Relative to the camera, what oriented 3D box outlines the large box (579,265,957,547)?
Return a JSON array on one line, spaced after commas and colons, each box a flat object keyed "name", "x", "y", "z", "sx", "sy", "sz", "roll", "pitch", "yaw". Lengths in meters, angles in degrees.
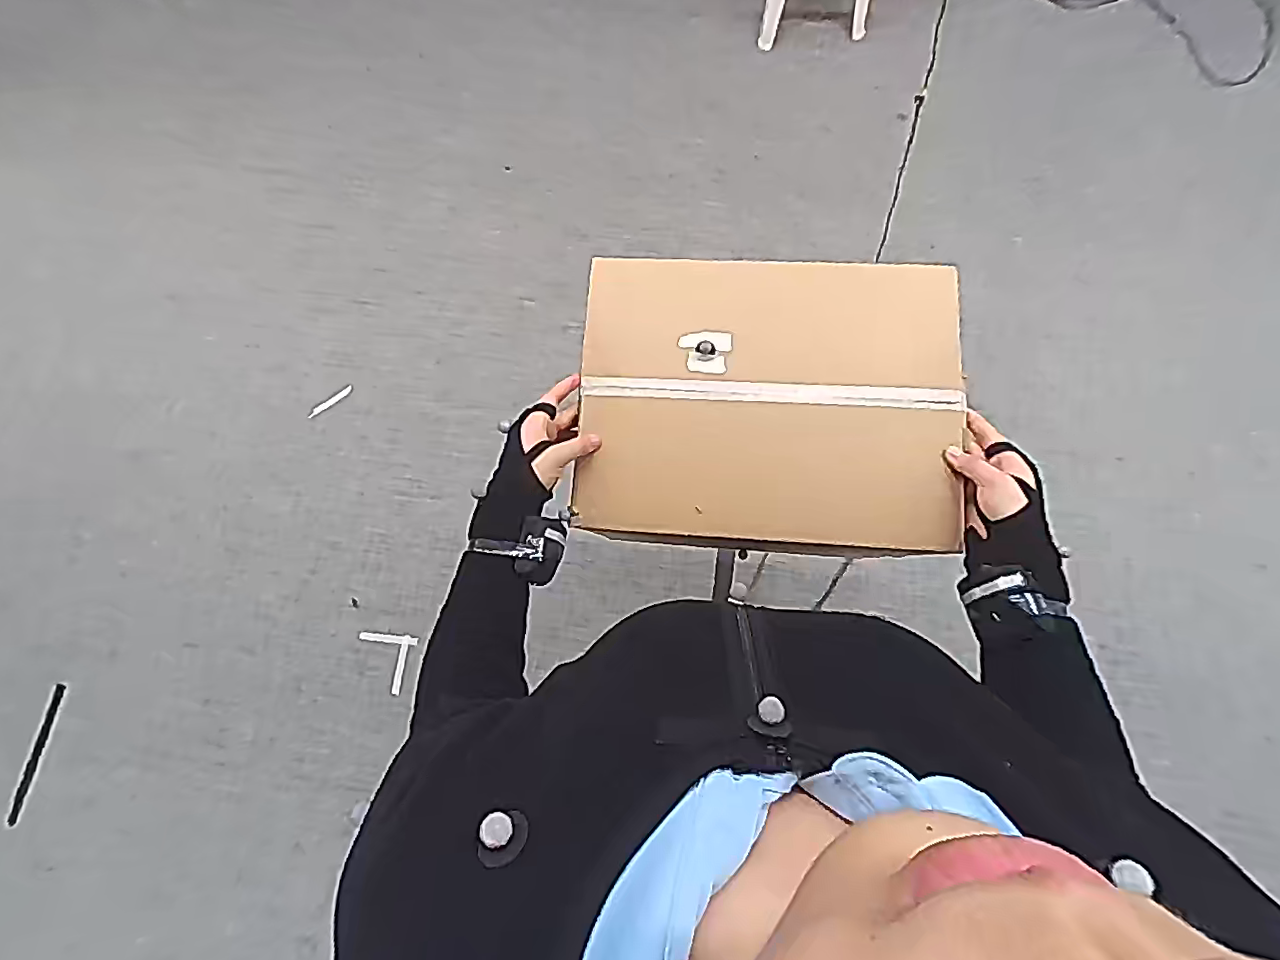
[{"name": "large box", "x": 0.151, "y": -0.071, "z": 0.743, "sx": 0.408, "sy": 0.320, "sz": 0.320, "roll": 2, "pitch": 80, "yaw": 5}]
